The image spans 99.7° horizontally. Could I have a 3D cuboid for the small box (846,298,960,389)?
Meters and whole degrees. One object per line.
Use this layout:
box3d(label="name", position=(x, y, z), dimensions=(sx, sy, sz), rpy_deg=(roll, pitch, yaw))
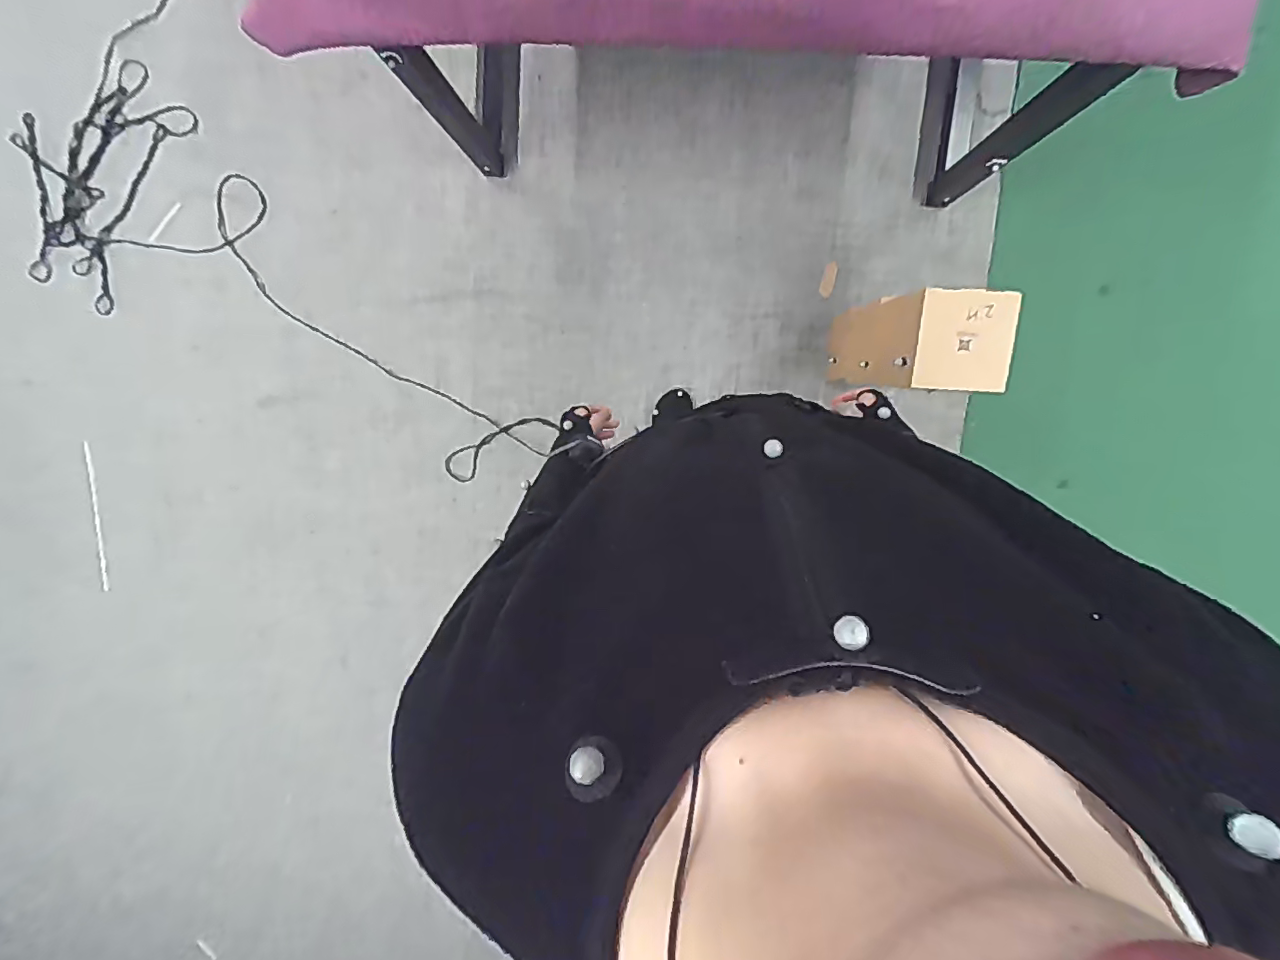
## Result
box3d(label="small box", position=(0.567, -0.294, 1.188), dimensions=(0.168, 0.176, 0.179), rpy_deg=(3, 100, 3))

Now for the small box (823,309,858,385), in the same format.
box3d(label="small box", position=(0.572, -0.322, 1.347), dimensions=(0.179, 0.176, 0.168), rpy_deg=(6, 99, 2))
